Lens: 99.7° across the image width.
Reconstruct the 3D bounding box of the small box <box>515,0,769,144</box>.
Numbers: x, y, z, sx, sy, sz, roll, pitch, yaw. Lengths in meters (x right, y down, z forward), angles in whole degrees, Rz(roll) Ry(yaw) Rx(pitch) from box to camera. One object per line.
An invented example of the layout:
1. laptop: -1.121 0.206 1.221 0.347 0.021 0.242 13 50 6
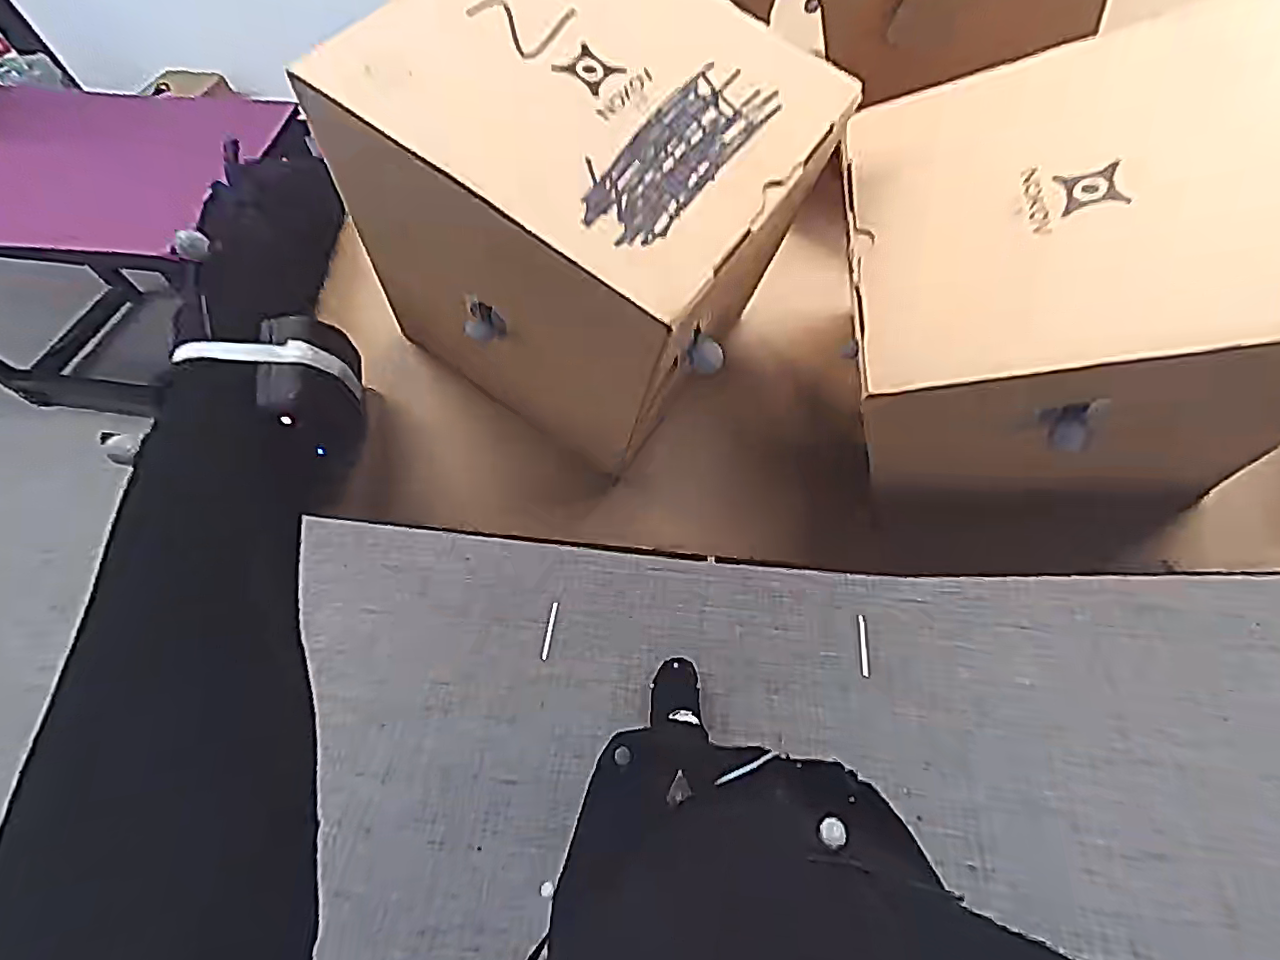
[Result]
1. small box: 0.006 -0.387 0.396 0.179 0.176 0.168 9 70 -7
